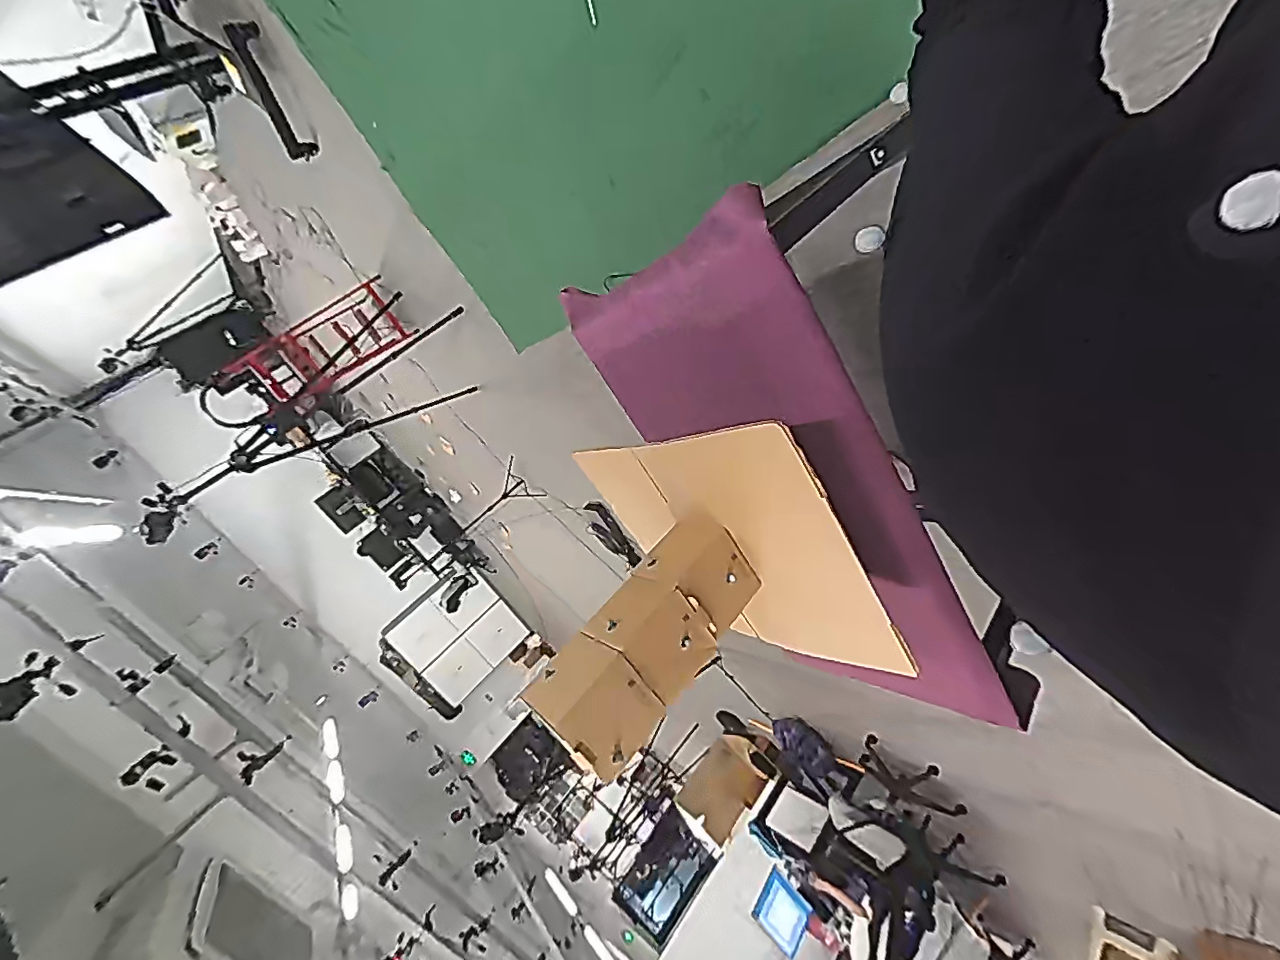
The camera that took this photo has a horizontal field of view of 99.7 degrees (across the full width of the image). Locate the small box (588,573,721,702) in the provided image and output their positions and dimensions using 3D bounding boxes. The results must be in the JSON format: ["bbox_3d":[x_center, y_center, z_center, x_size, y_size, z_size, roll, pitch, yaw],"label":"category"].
[{"bbox_3d":[0.031,0.309,1.100,0.168,0.176,0.179,55,153,-18],"label":"small box"}]

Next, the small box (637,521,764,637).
[{"bbox_3d":[0.133,0.205,1.173,0.179,0.176,0.168,0,130,57],"label":"small box"}]
